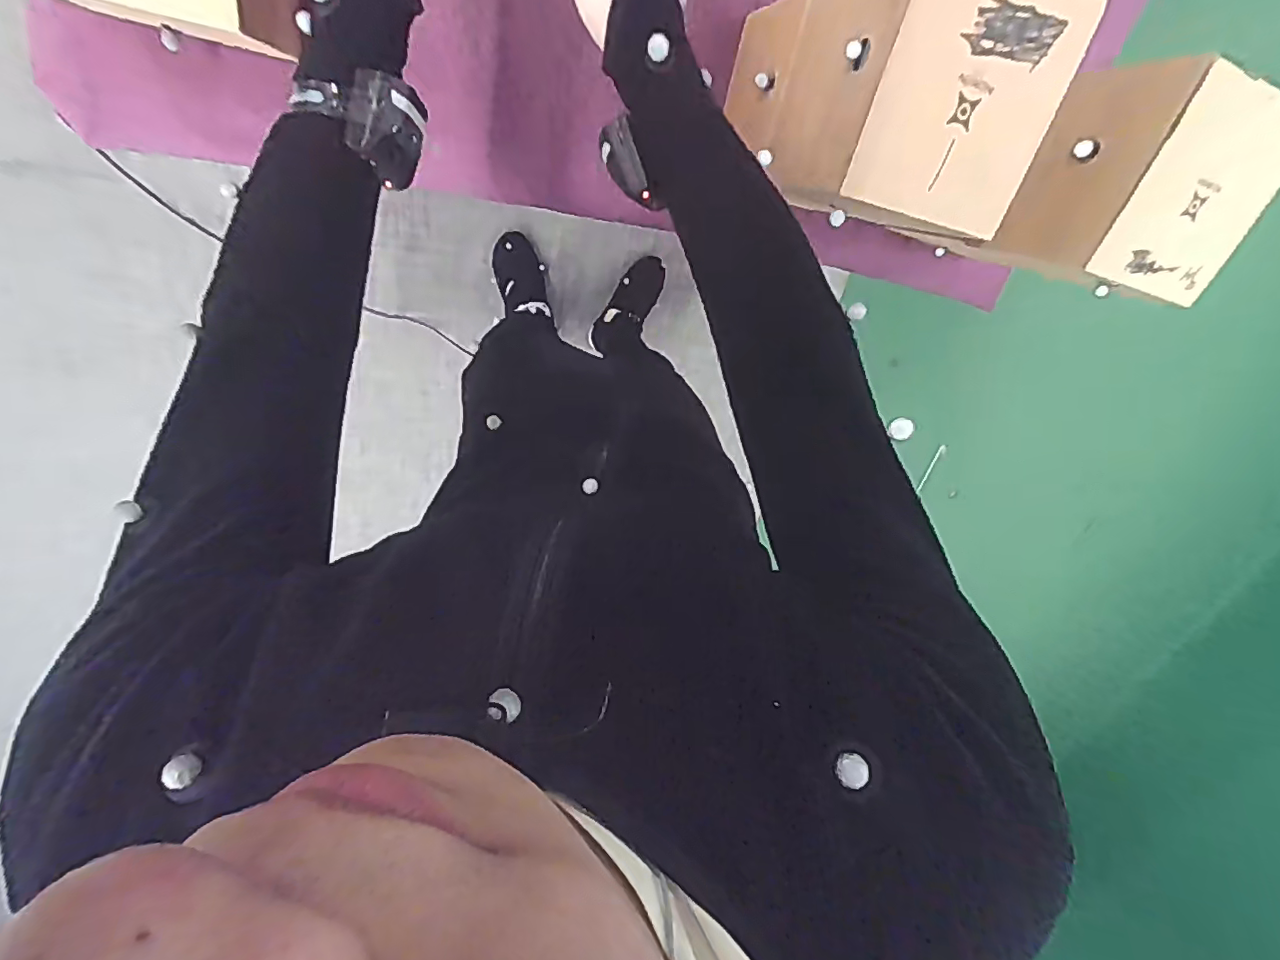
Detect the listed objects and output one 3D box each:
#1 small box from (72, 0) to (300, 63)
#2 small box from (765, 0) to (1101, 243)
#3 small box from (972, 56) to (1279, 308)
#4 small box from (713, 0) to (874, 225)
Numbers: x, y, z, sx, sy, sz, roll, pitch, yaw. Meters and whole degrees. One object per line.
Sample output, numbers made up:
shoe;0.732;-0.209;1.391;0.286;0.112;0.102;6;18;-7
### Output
small box;-0.394;-0.471;0.433;0.168;0.176;0.179;4;120;-17
small box;0.236;-0.336;0.489;0.168;0.176;0.179;6;119;-18
small box;0.504;-0.305;0.574;0.168;0.176;0.179;8;118;-18
small box;0.199;-0.416;0.628;0.168;0.176;0.179;5;118;-17
